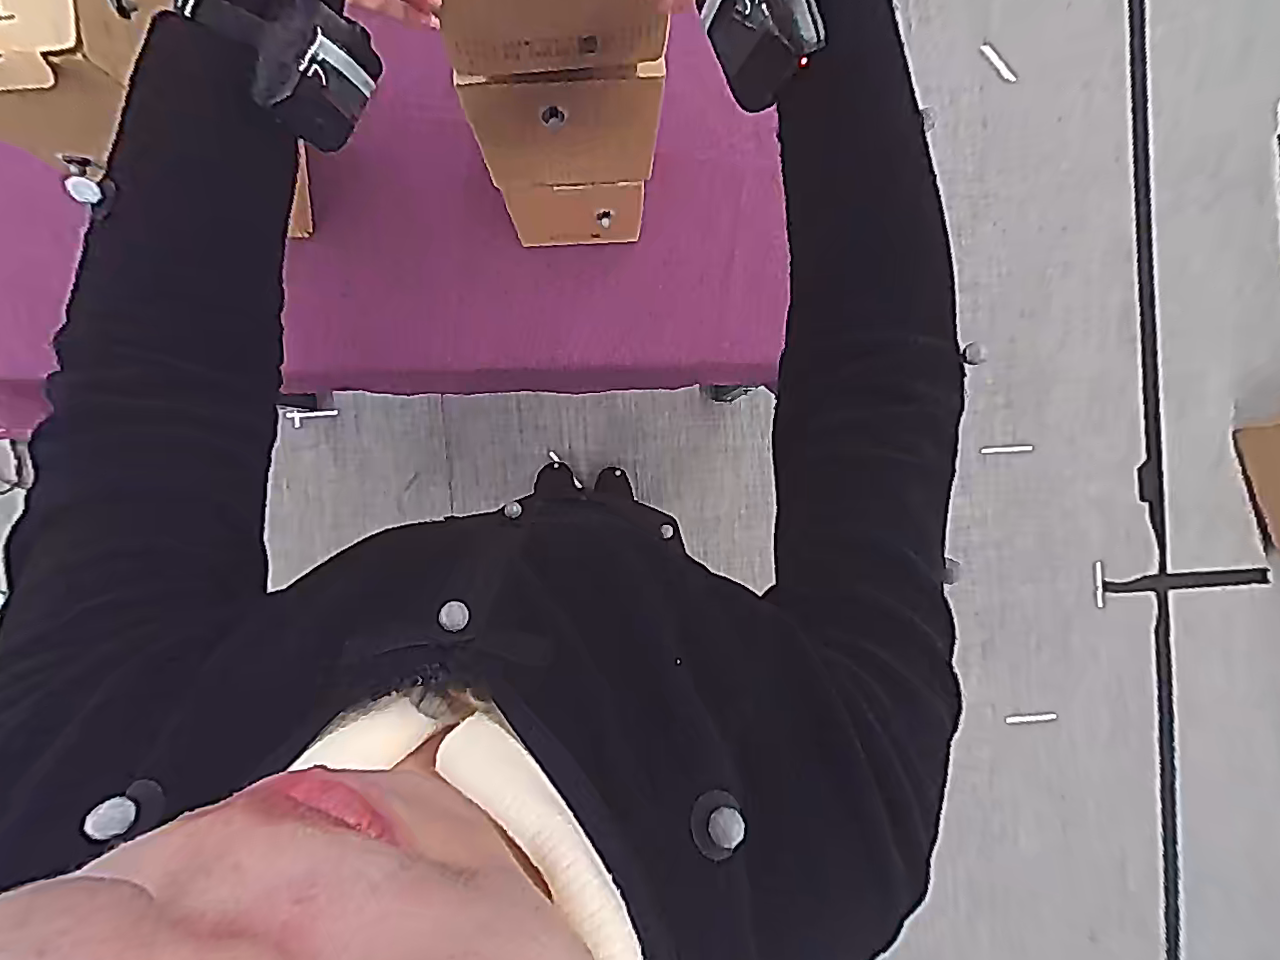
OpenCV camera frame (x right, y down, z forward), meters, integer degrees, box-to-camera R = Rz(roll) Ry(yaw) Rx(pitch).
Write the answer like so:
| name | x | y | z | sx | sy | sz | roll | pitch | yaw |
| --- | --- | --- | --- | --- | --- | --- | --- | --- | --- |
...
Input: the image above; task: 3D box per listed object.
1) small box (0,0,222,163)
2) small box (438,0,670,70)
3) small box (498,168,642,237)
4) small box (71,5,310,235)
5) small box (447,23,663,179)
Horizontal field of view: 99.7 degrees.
| name | x | y | z | sx | sy | sz | roll | pitch | yaw |
| --- | --- | --- | --- | --- | --- | --- | --- | --- | --- |
| small box | -0.524 | -0.415 | 0.493 | 0.168 | 0.176 | 0.179 | -5 | 92 | -4 |
| small box | -0.066 | -0.411 | 0.343 | 0.168 | 0.176 | 0.179 | -6 | 86 | -2 |
| small box | -0.084 | -0.421 | 0.680 | 0.168 | 0.176 | 0.179 | -3 | 92 | -3 |
| small box | -0.533 | -0.421 | 0.657 | 0.168 | 0.176 | 0.179 | -4 | 93 | -3 |
| small box | -0.076 | -0.411 | 0.516 | 0.179 | 0.176 | 0.168 | -4 | 93 | -3 |
